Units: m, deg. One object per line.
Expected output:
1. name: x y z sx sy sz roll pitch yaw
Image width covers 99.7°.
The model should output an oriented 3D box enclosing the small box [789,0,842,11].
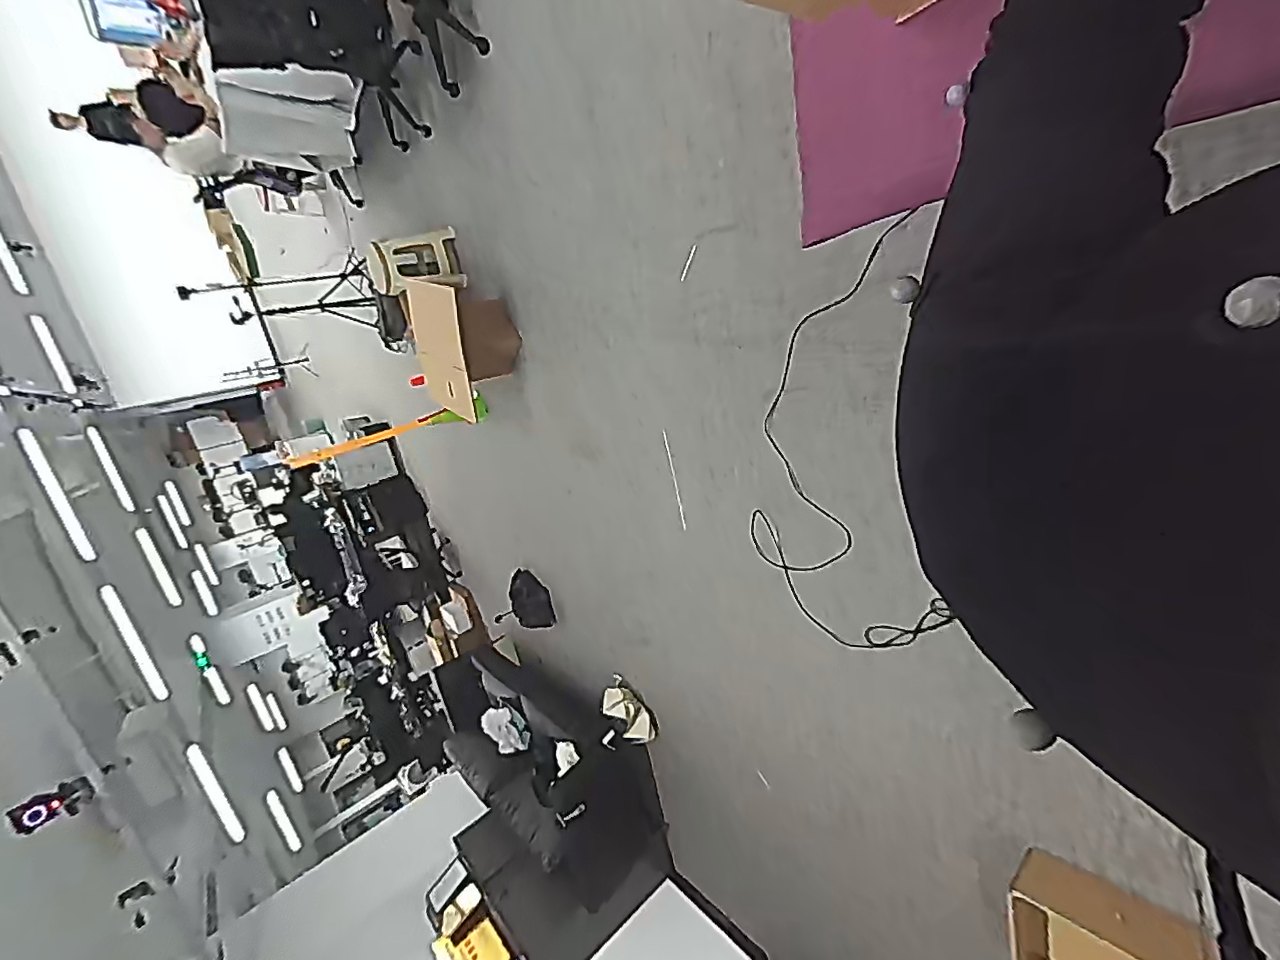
1. small box: 0.151 -0.515 0.416 0.168 0.176 0.179 7 116 50
